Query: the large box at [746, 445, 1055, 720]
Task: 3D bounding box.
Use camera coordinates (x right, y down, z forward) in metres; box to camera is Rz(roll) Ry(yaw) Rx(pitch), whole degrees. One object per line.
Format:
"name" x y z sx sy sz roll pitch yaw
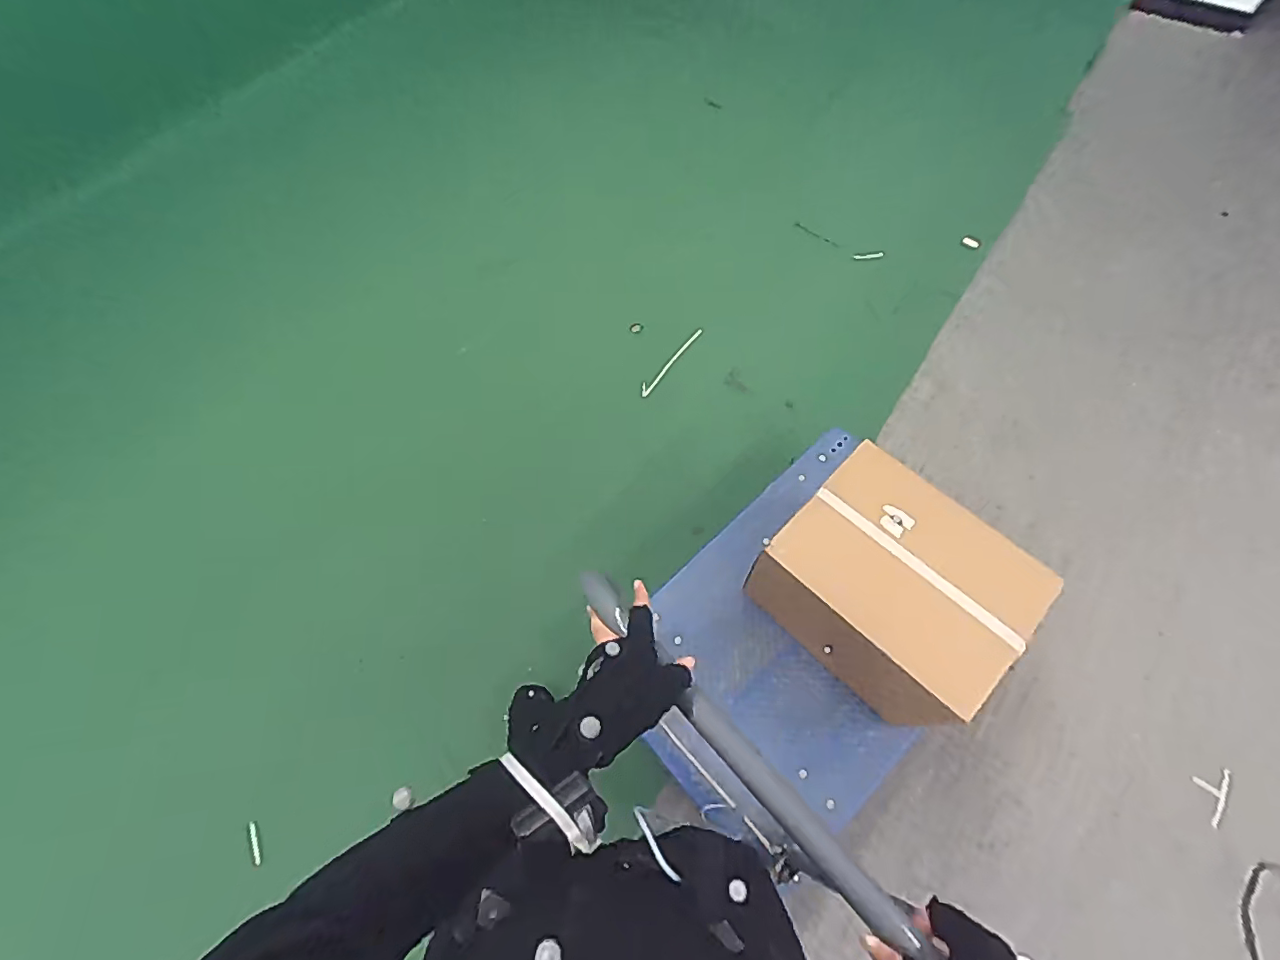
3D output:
"large box" 0.475 0.213 1.080 0.320 0.320 0.408 -42 69 -16
